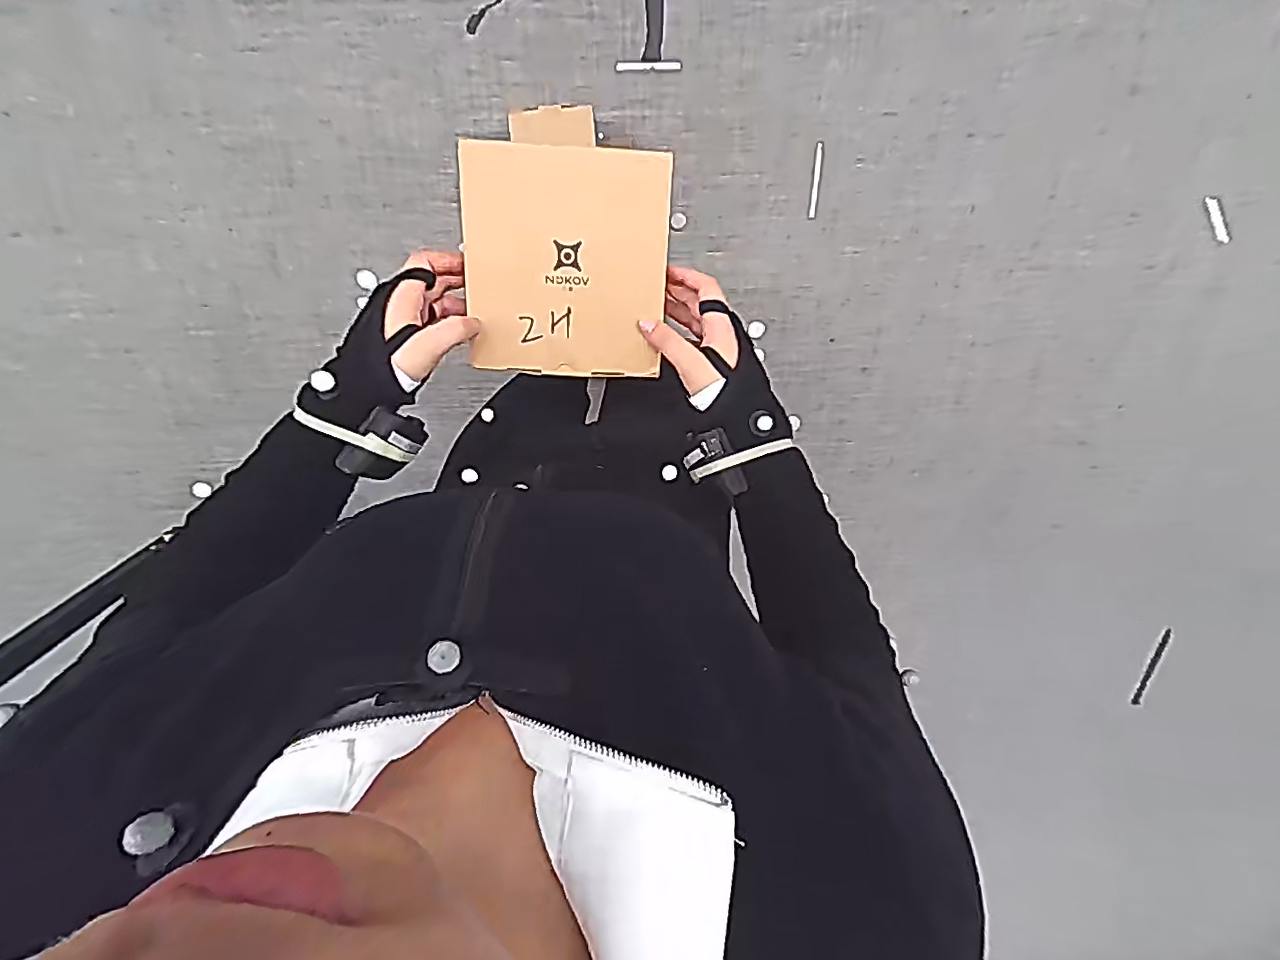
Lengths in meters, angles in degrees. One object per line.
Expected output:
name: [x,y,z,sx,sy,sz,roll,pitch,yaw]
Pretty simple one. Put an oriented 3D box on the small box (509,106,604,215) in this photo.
small box: [-0.167,-0.660,1.135,0.168,0.176,0.179,-5,116,1]
